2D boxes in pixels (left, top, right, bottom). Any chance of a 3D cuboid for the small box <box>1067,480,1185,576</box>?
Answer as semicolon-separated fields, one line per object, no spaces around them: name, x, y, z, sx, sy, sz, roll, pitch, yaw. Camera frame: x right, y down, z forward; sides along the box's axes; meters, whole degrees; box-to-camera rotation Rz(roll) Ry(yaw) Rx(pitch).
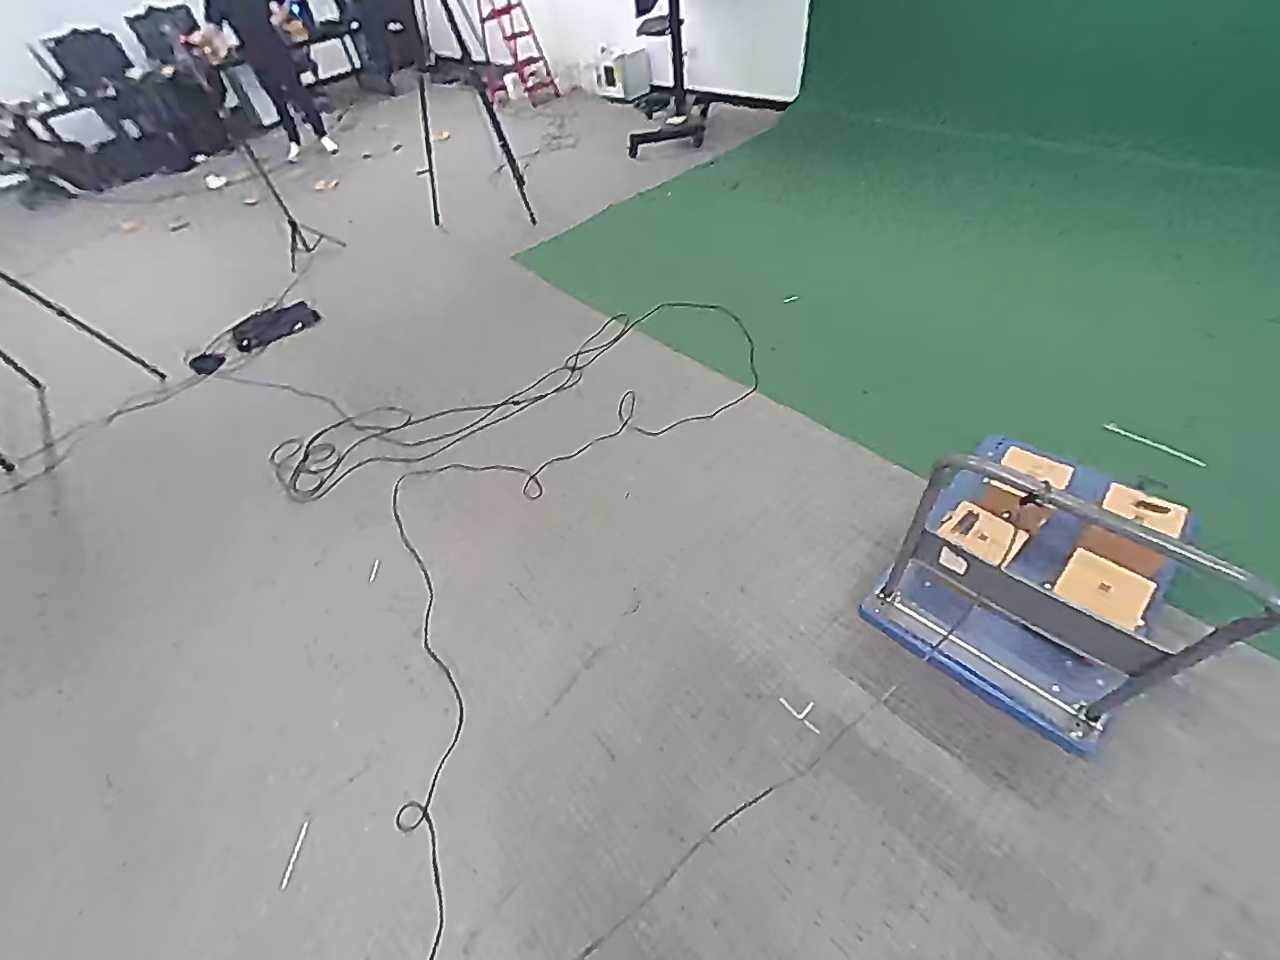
small box;1.292;0.140;1.449;0.168;0.176;0.179;29;61;31

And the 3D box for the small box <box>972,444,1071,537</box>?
small box;1.102;0.033;1.575;0.168;0.176;0.179;30;61;30

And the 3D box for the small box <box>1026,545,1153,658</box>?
small box;1.105;0.303;1.343;0.179;0.176;0.168;-41;55;-22
